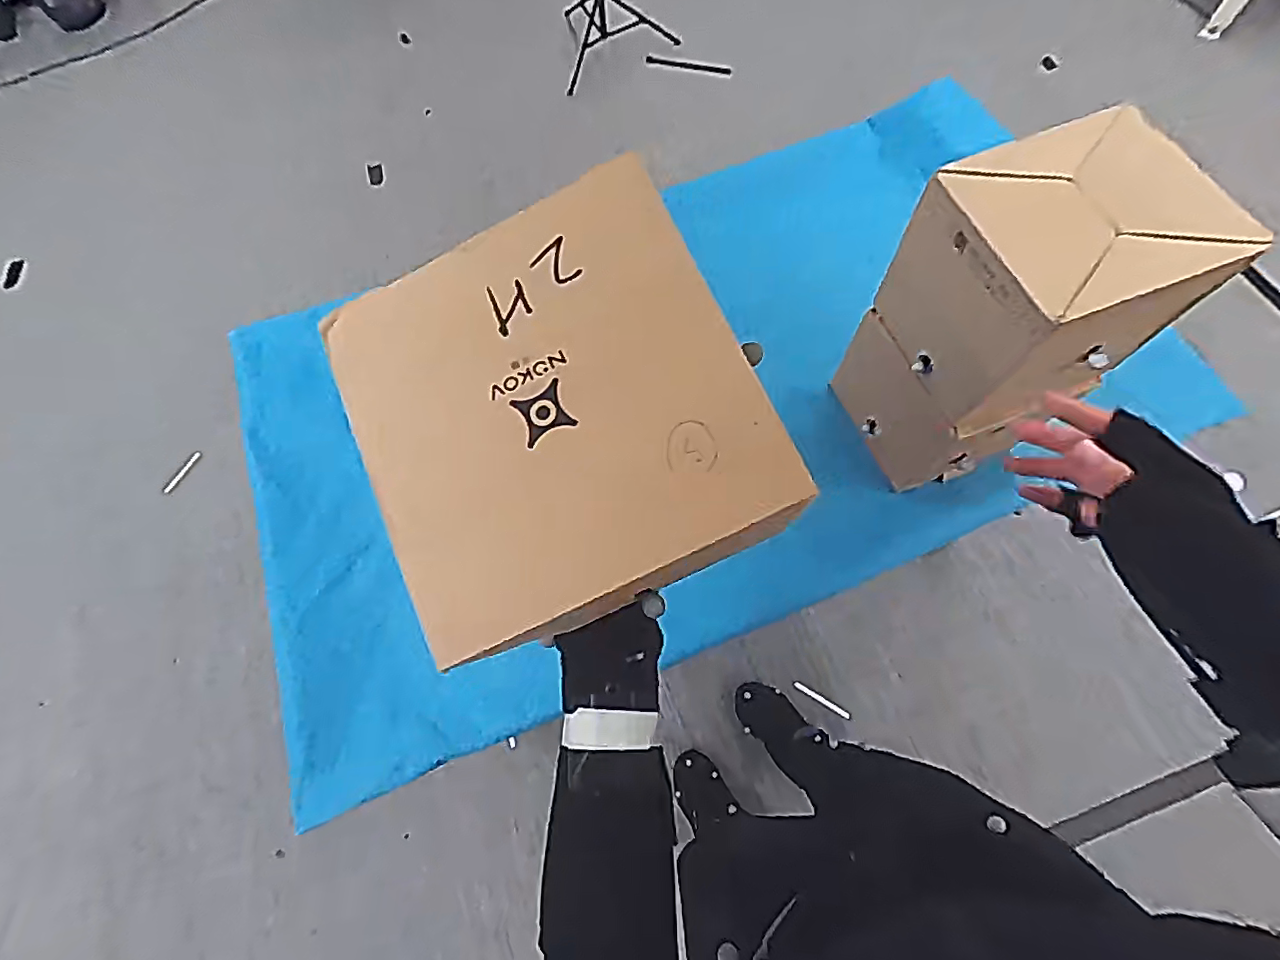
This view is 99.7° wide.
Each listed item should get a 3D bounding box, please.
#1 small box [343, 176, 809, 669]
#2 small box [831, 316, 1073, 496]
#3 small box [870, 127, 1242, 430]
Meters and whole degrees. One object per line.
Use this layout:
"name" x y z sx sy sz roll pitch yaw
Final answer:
"small box" -0.024 -0.017 0.313 0.168 0.176 0.179 -26 76 4
"small box" 0.358 -0.111 0.642 0.168 0.176 0.179 -22 69 -4
"small box" 0.350 -0.177 0.492 0.179 0.176 0.168 -21 68 -1
